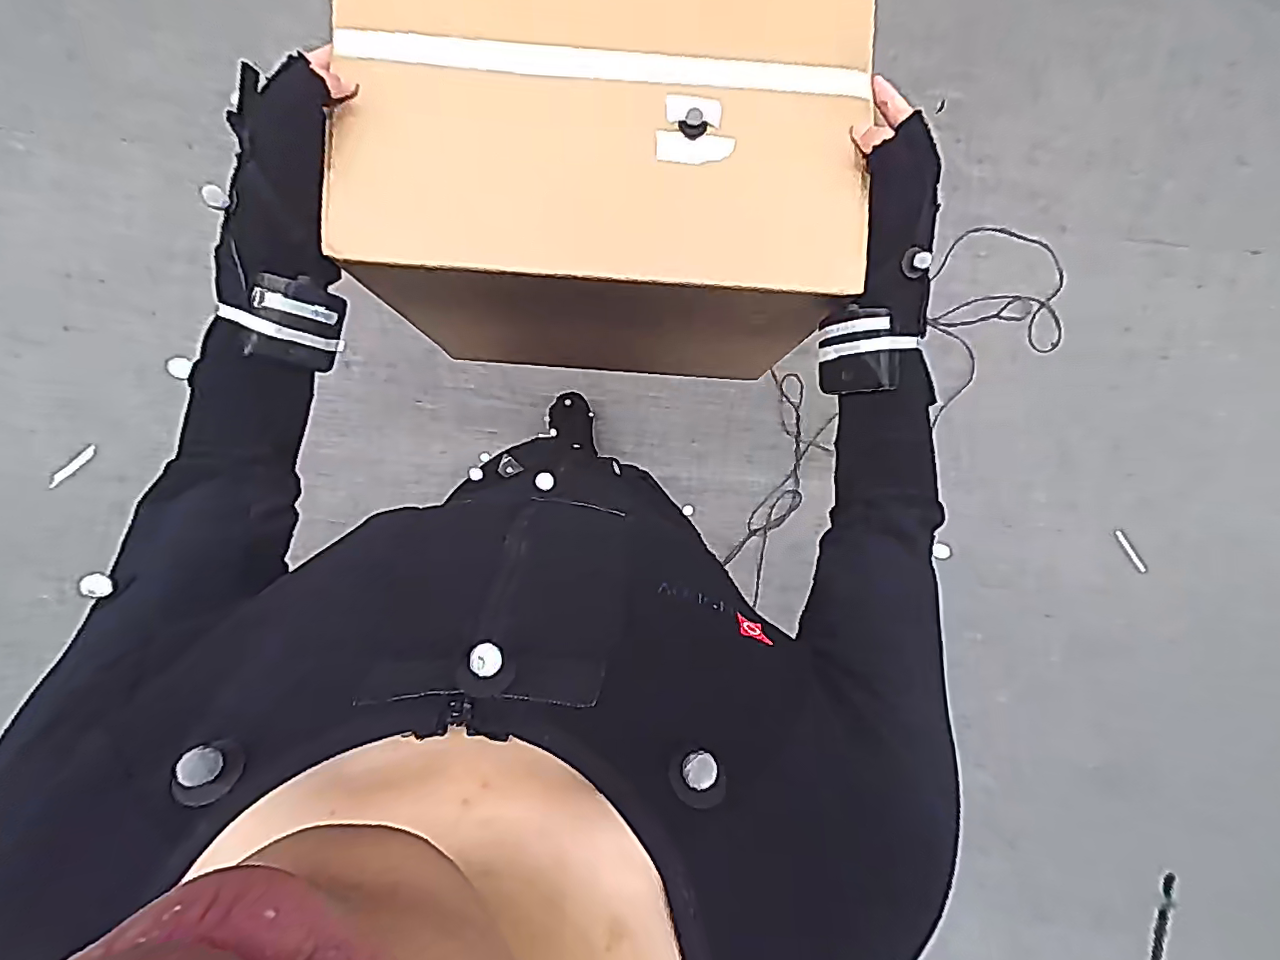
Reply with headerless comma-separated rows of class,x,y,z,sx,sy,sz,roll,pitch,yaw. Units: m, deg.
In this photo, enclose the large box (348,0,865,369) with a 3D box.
large box,-0.028,-0.311,0.573,0.408,0.320,0.320,3,89,-3
